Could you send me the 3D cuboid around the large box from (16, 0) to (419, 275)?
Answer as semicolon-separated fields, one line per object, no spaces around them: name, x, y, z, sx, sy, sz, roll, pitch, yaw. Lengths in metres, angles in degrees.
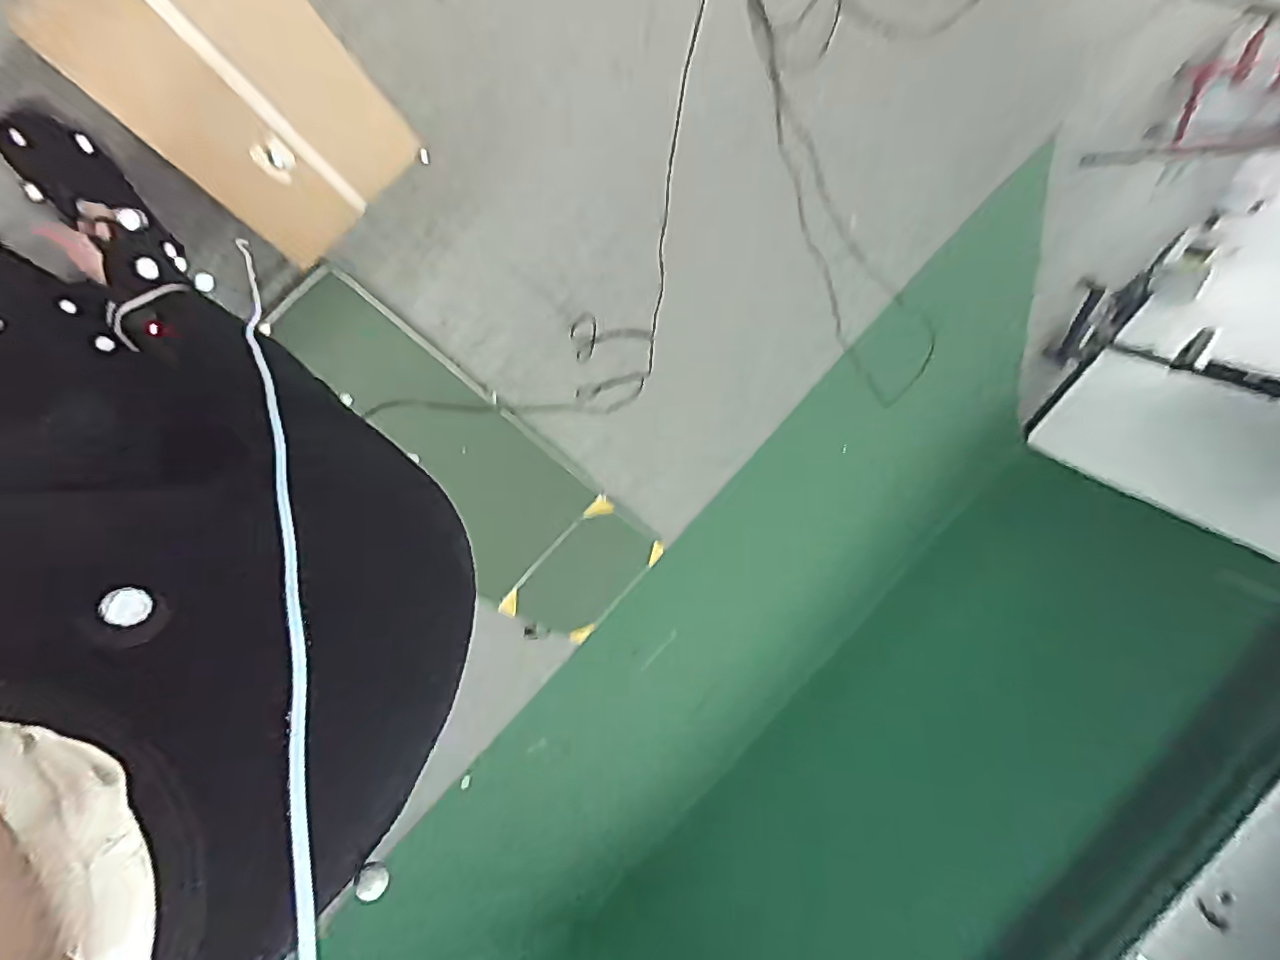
large box;-0.682;-0.640;0.923;0.320;0.320;0.408;-47;141;-3
